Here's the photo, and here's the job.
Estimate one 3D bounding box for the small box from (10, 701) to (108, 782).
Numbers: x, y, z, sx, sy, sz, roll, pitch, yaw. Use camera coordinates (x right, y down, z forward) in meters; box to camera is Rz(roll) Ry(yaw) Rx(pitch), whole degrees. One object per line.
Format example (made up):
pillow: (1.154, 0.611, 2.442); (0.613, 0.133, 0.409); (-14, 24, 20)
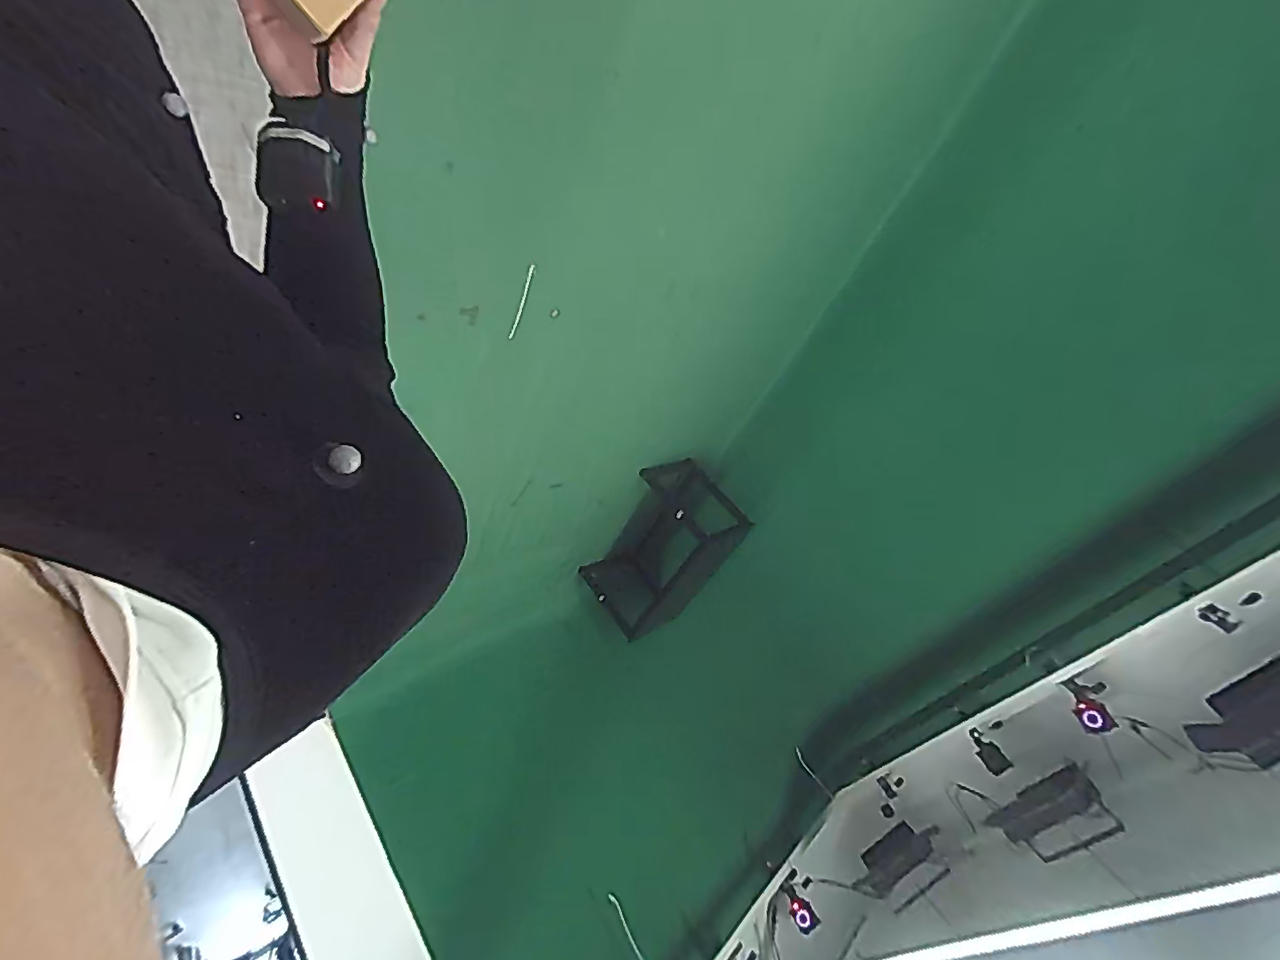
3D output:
small box: (-1.637, 0.765, 1.531); (0.168, 0.176, 0.179); (-15, 144, -46)

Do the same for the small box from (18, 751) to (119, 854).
small box: (-1.537, 0.873, 1.463); (0.168, 0.176, 0.179); (-15, 143, -45)
